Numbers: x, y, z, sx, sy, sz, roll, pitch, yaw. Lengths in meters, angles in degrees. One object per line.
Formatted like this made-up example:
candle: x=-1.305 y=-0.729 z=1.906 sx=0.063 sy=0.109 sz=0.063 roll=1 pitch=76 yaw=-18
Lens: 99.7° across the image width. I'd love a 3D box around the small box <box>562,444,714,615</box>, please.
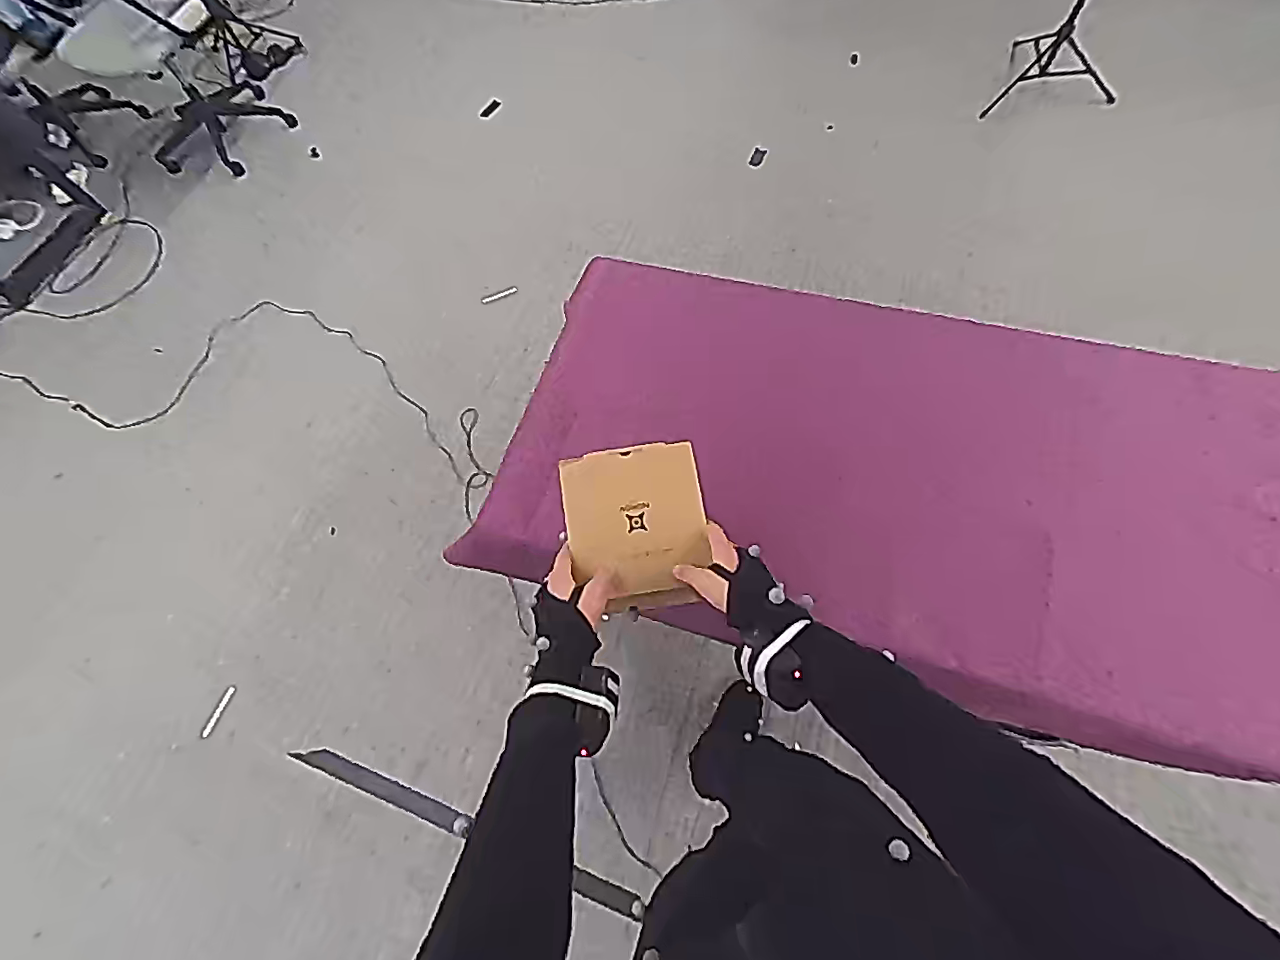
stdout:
small box: x=-0.008 y=0.073 z=0.724 sx=0.168 sy=0.176 sz=0.179 roll=-8 pitch=70 yaw=-4
